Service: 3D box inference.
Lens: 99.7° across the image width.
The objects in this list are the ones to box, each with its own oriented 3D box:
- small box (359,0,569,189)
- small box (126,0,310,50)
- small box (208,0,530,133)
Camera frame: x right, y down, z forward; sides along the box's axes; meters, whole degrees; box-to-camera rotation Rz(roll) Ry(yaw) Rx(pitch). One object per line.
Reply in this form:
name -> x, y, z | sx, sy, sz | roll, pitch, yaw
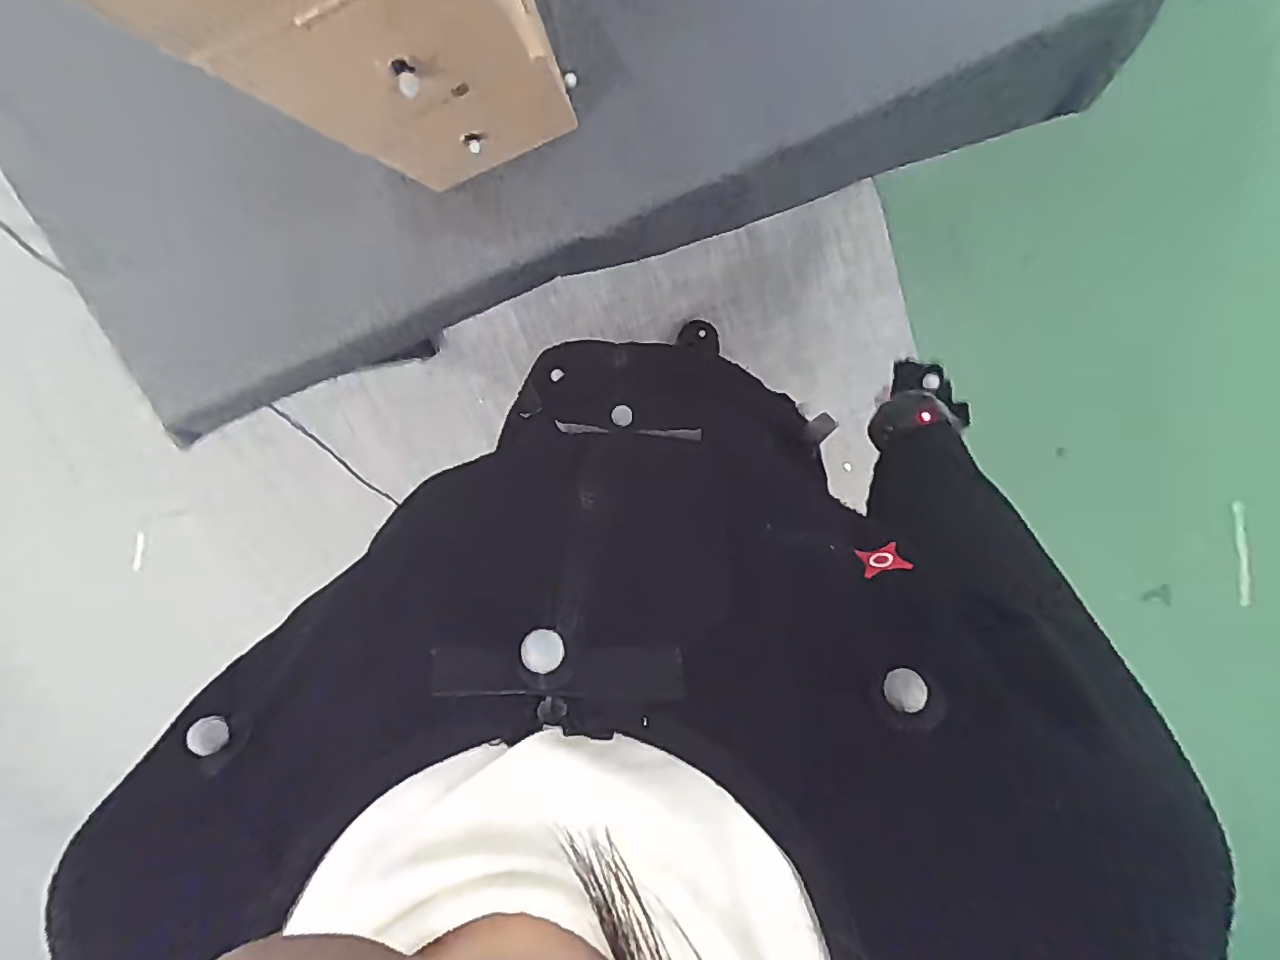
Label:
small box -> -0.178, -0.407, 0.509 | 0.179, 0.176, 0.168 | -20, 103, 9
small box -> -0.194, -0.312, 0.198 | 0.179, 0.176, 0.168 | -20, 105, 8
small box -> -0.193, -0.361, 0.353 | 0.168, 0.176, 0.179 | -21, 104, 9
